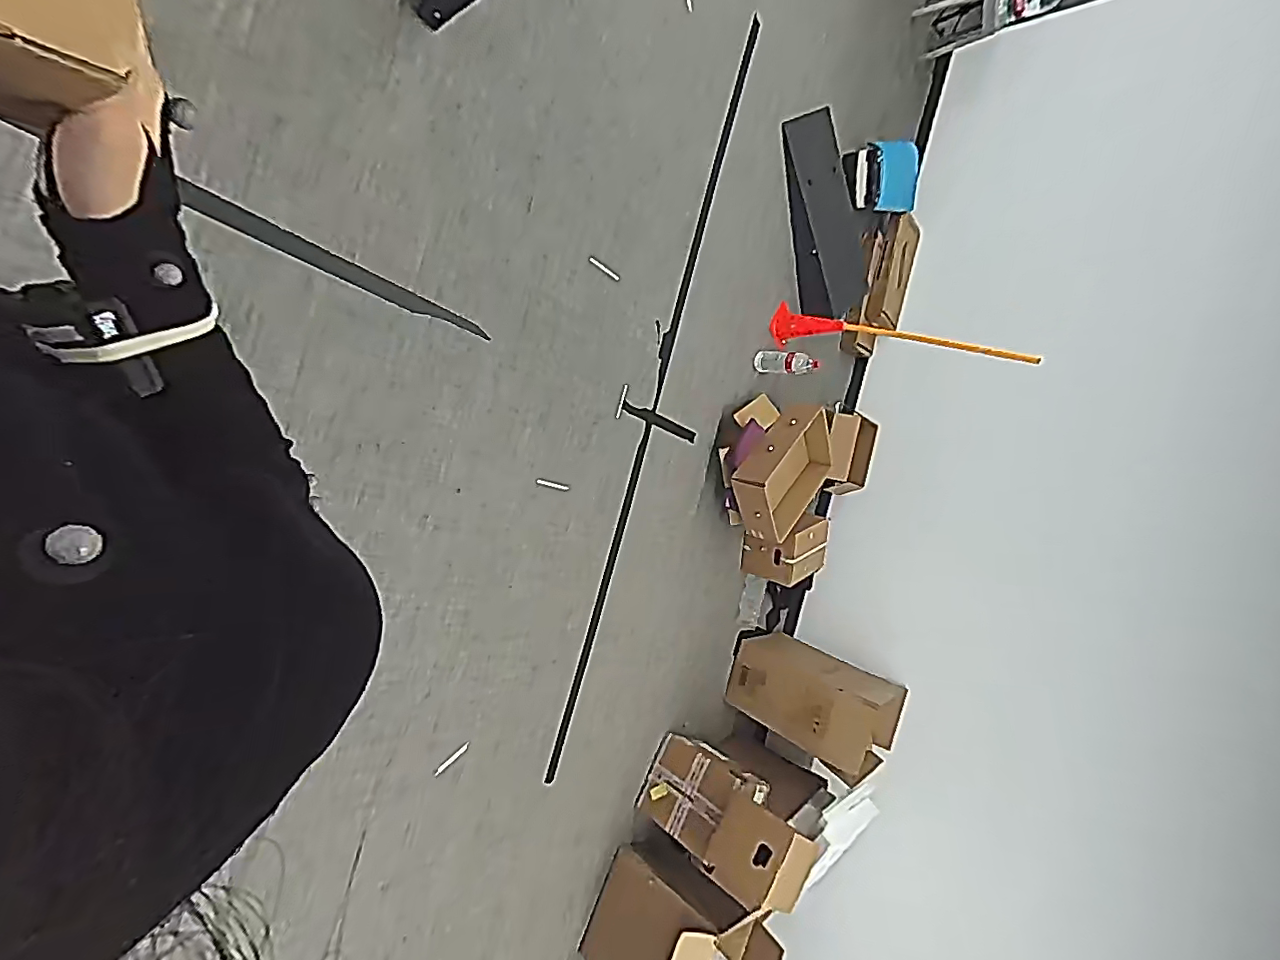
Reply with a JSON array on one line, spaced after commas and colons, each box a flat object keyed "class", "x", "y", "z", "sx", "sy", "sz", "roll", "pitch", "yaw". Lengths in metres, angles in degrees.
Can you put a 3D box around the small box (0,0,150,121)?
[{"class": "small box", "x": -0.283, "y": -0.247, "z": 0.172, "sx": 0.168, "sy": 0.176, "sz": 0.179, "roll": -4, "pitch": 109, "yaw": -55}]
